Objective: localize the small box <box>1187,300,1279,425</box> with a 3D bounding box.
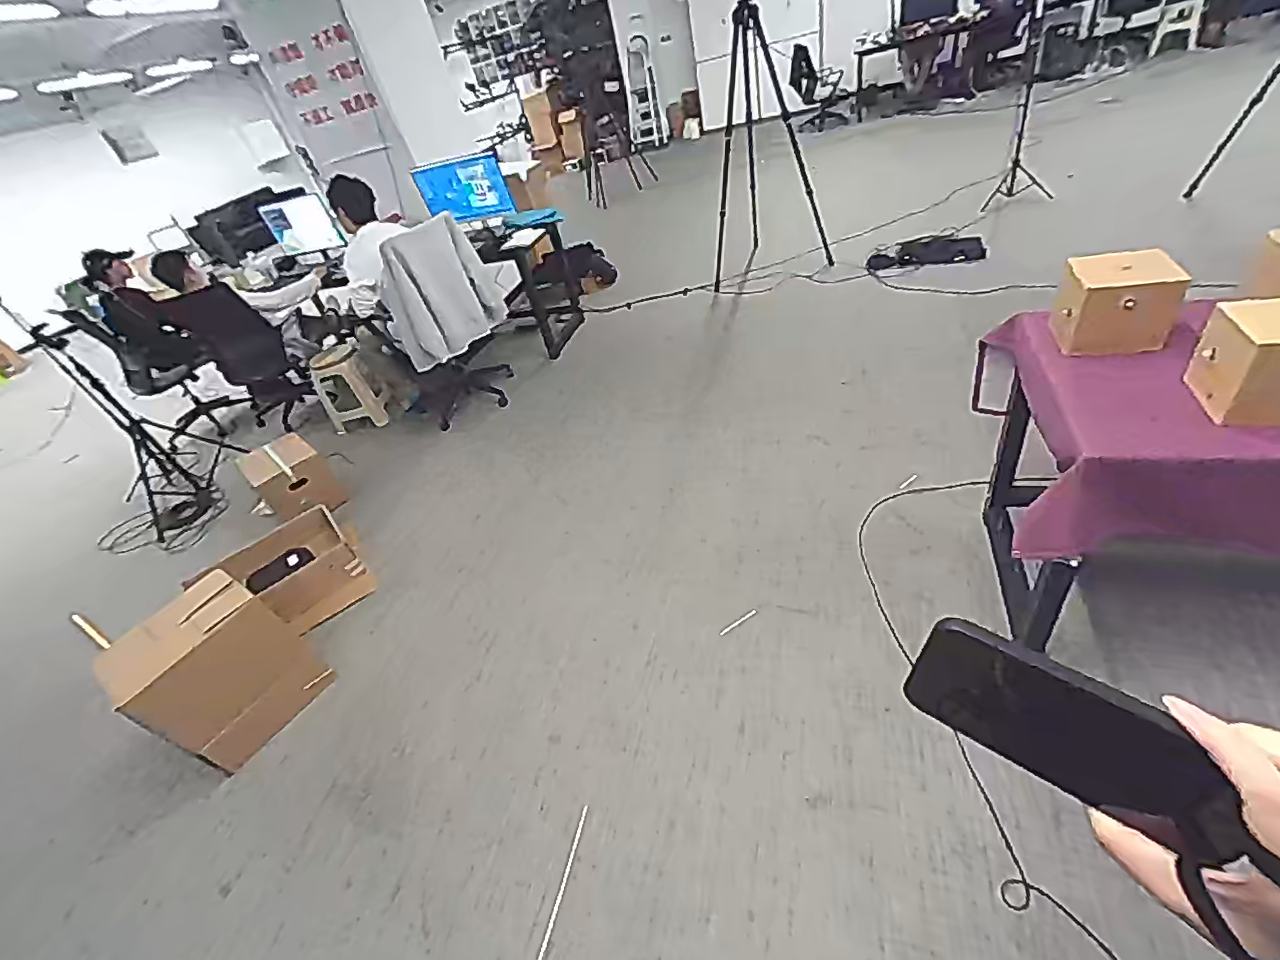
[{"bbox_3d":[1.141,-0.209,0.971,0.179,0.176,0.168,3,42,22],"label":"small box"}]
